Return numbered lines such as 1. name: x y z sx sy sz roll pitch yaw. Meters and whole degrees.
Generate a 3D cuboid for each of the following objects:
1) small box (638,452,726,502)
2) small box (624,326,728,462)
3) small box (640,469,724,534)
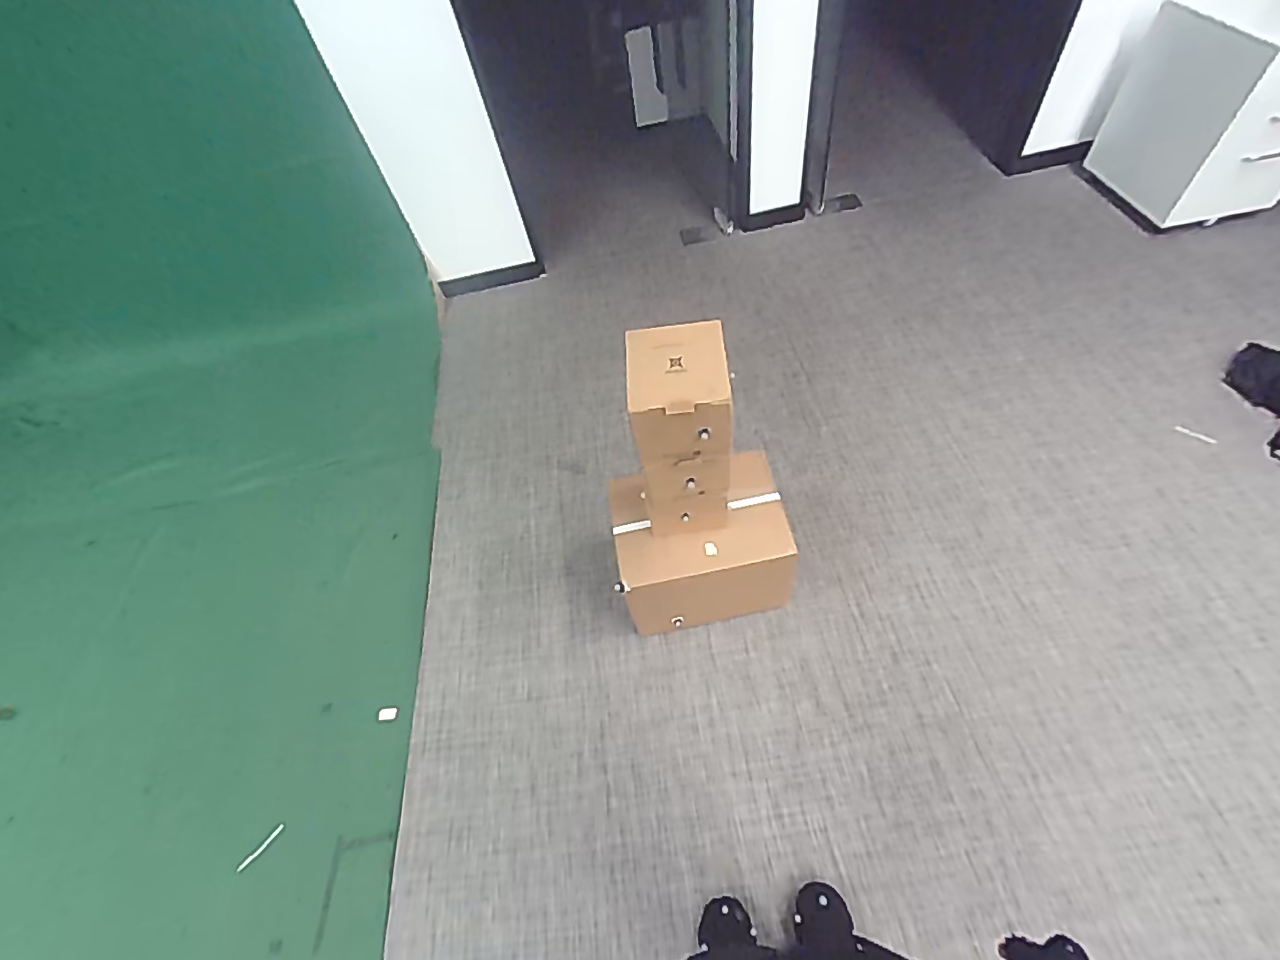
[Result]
1. small box: 0.079 -0.069 1.104 0.168 0.176 0.179 -12 60 1
2. small box: 0.065 -0.143 0.959 0.168 0.176 0.179 -5 59 4
3. small box: 0.095 0.013 1.241 0.179 0.176 0.168 -5 58 5
